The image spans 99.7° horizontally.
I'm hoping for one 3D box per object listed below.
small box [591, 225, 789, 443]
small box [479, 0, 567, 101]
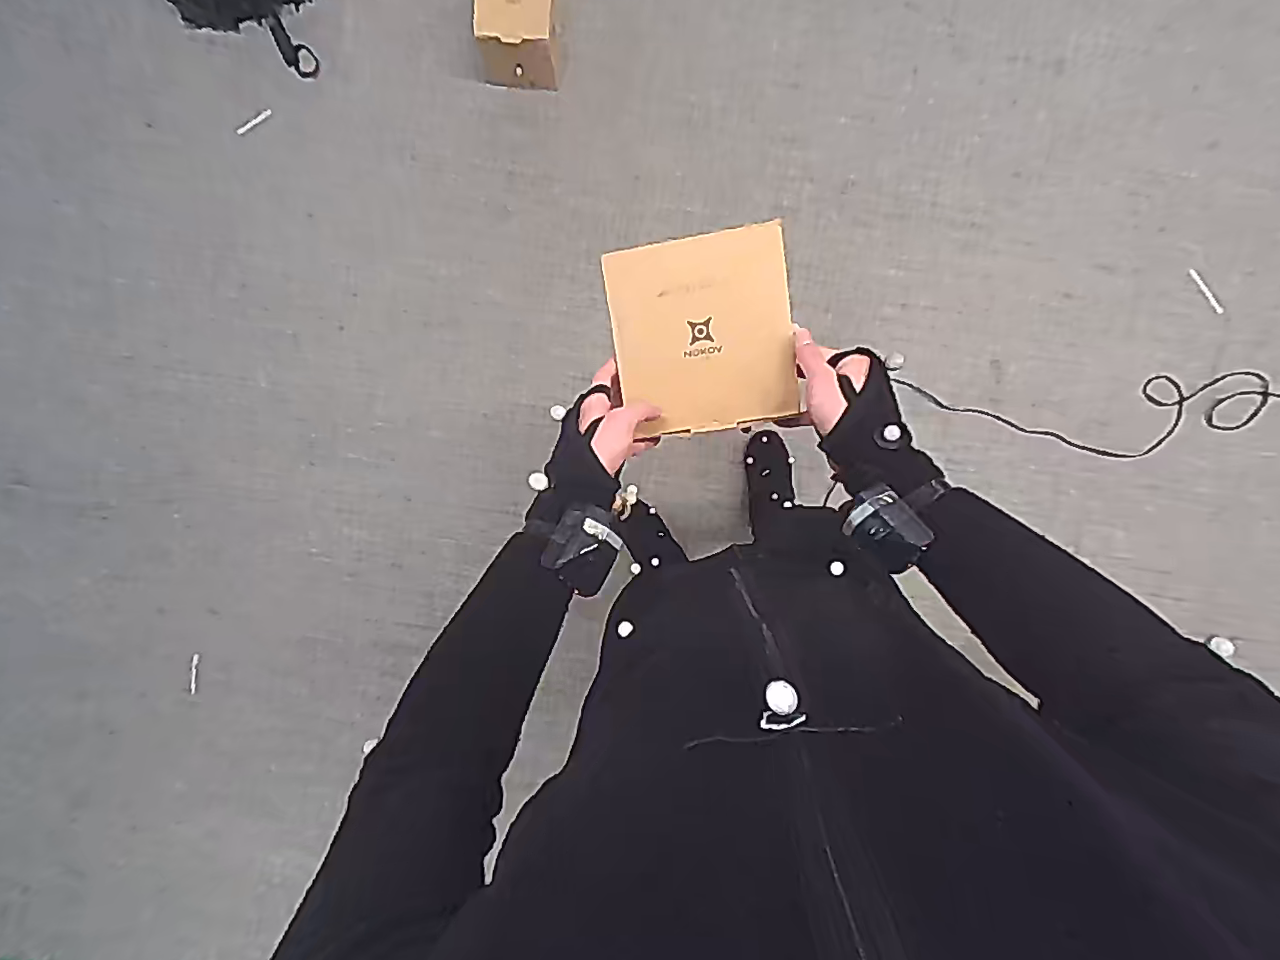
[{"bbox_3d":[0.057,-0.144,0.579,0.168,0.176,0.179,-9,97,8],"label":"small box"},{"bbox_3d":[-0.267,-1.024,1.260,0.168,0.176,0.179,4,95,0],"label":"small box"}]
